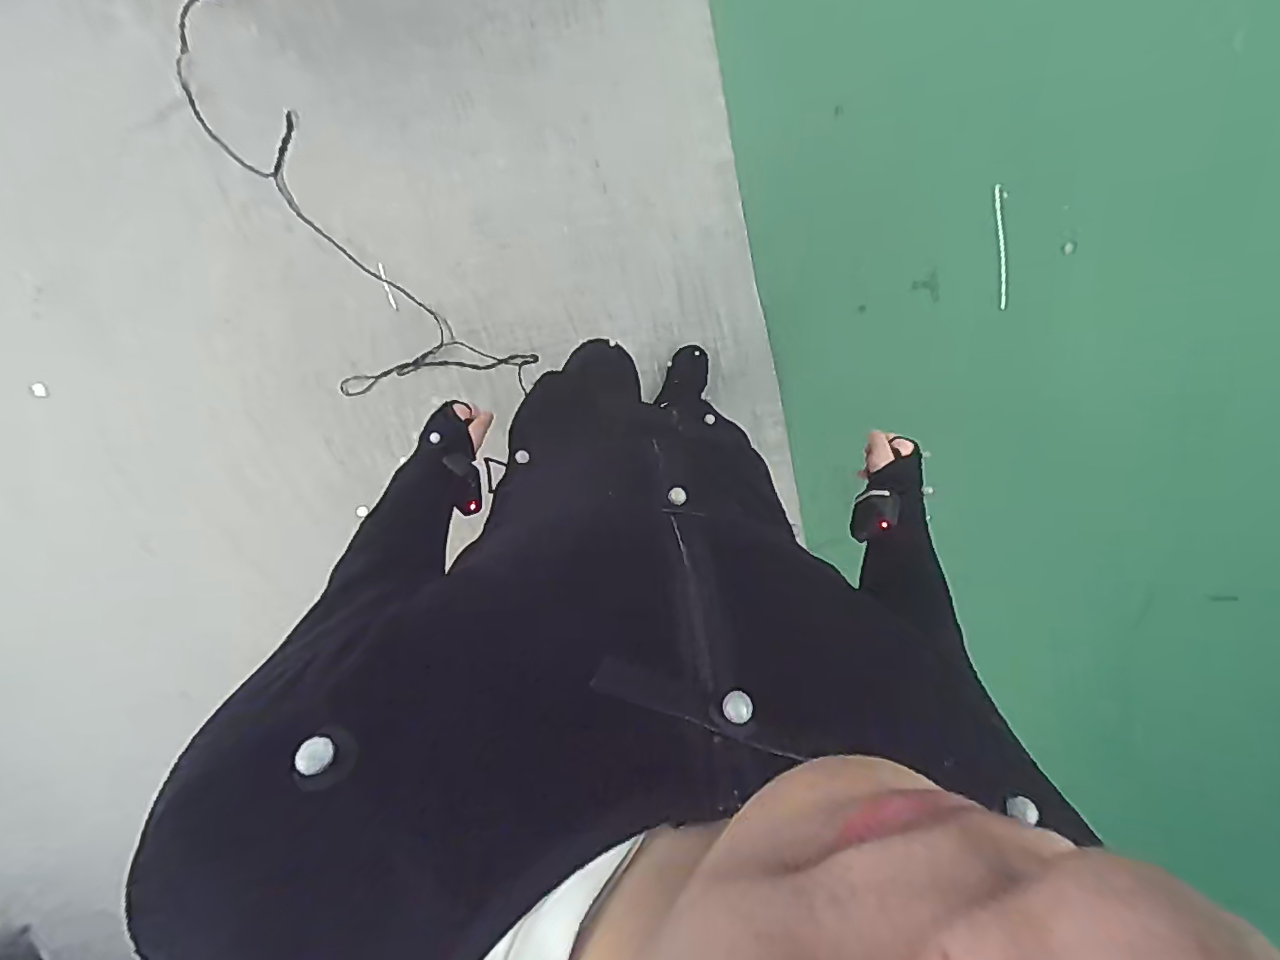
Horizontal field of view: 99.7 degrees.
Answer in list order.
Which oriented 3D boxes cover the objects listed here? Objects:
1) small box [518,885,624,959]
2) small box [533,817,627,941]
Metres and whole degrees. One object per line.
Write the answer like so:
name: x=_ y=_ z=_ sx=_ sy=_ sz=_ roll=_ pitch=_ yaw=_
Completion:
small box: x=-0.125 y=0.923 z=1.029 sx=0.168 sy=0.176 sz=0.179 roll=-11 pitch=105 yaw=3
small box: x=-0.125 y=0.872 z=1.185 sx=0.168 sy=0.176 sz=0.179 roll=-10 pitch=104 yaw=4
